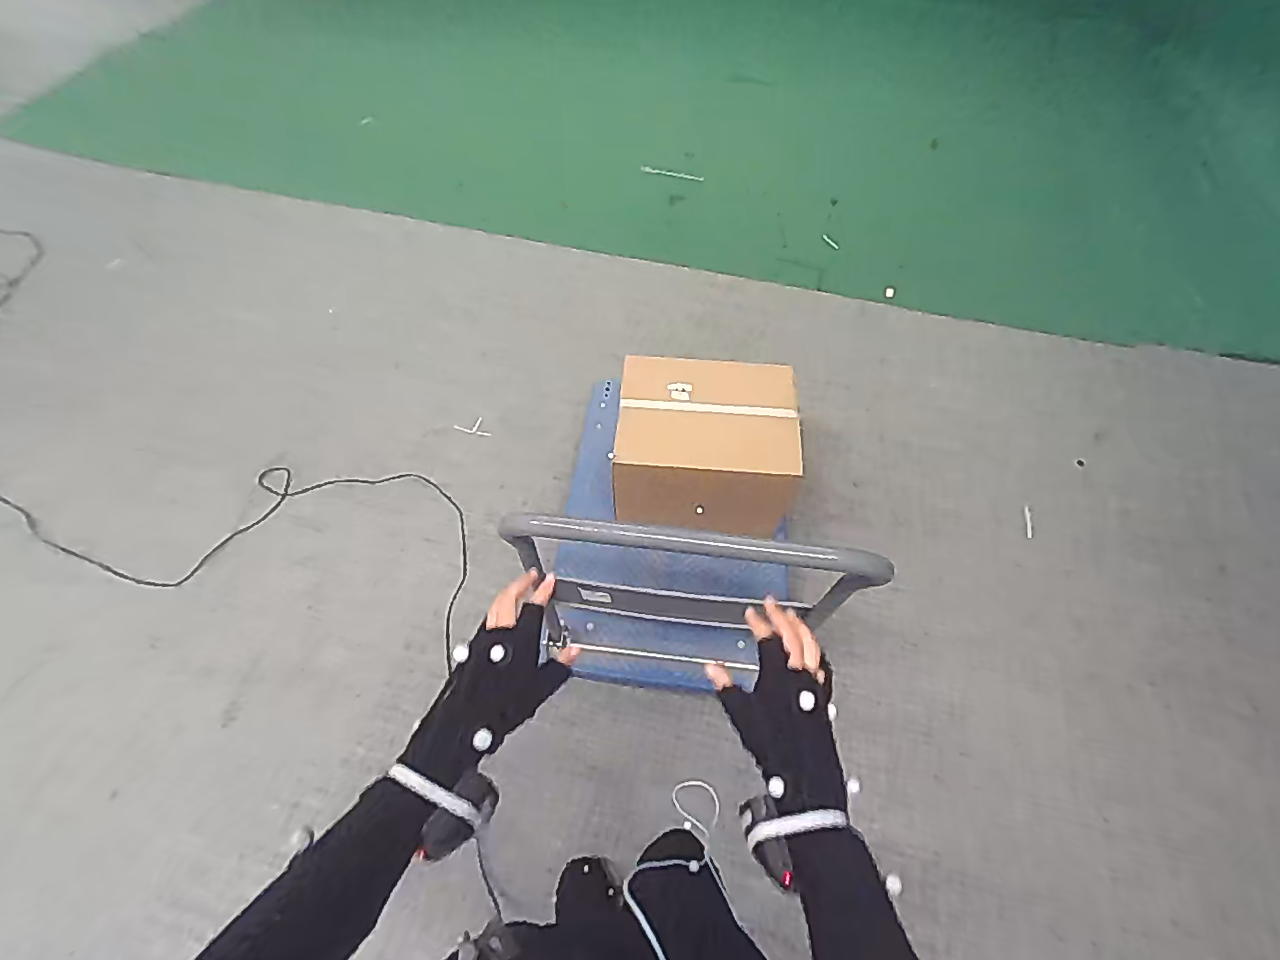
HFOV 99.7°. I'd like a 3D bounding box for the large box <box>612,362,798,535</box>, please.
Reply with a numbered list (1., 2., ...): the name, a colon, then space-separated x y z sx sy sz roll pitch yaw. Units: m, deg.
1. large box: 0.149 -0.071 1.350 0.408 0.320 0.320 4 58 3
